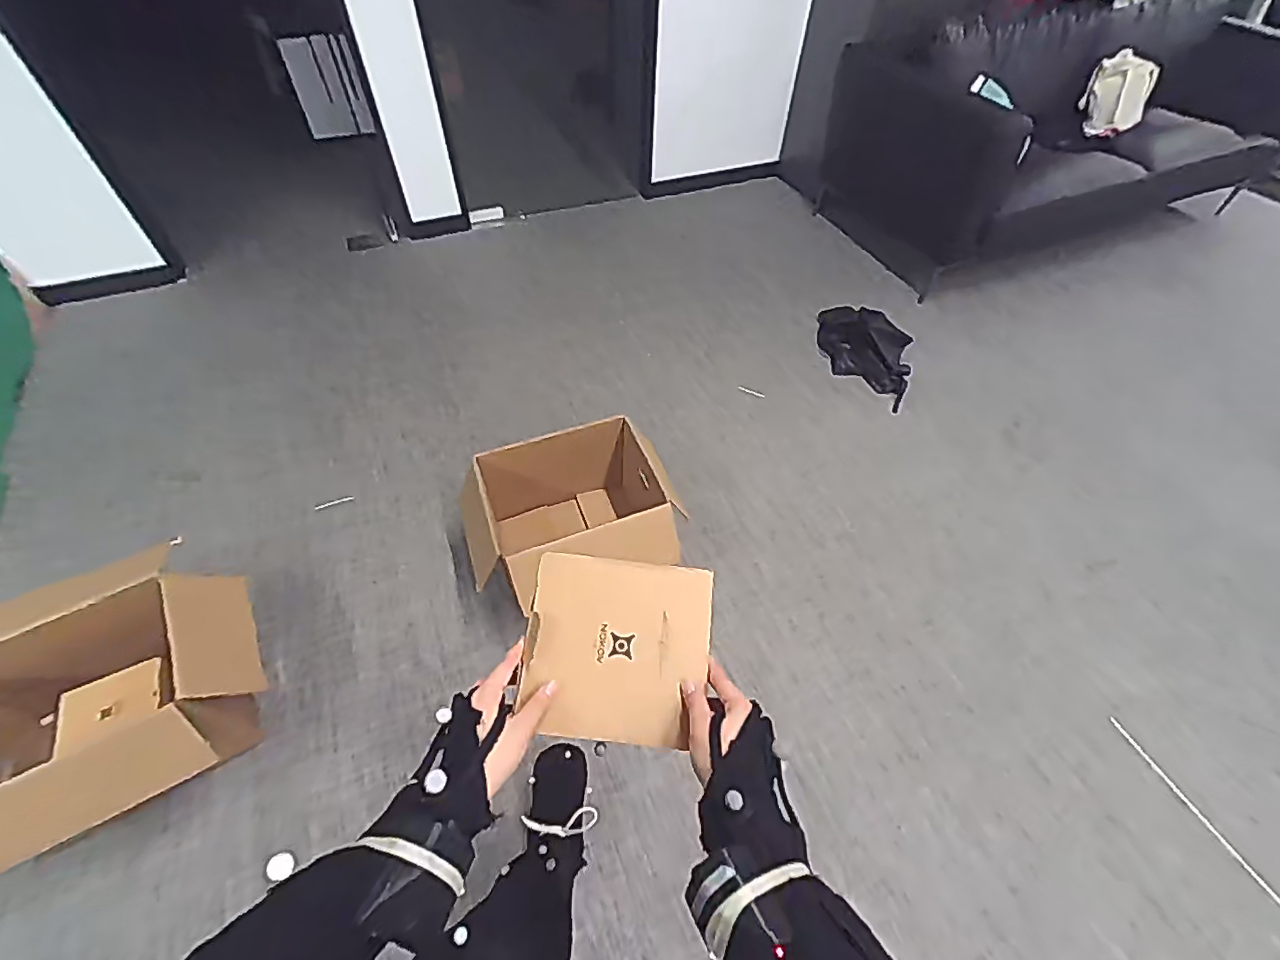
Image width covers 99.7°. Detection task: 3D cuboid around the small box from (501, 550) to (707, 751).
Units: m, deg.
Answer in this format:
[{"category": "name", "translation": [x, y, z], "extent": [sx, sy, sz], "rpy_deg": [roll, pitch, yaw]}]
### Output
[{"category": "small box", "translation": [-0.033, 0.183, 0.576], "extent": [0.179, 0.176, 0.168], "rpy_deg": [7, 68, -2]}]
